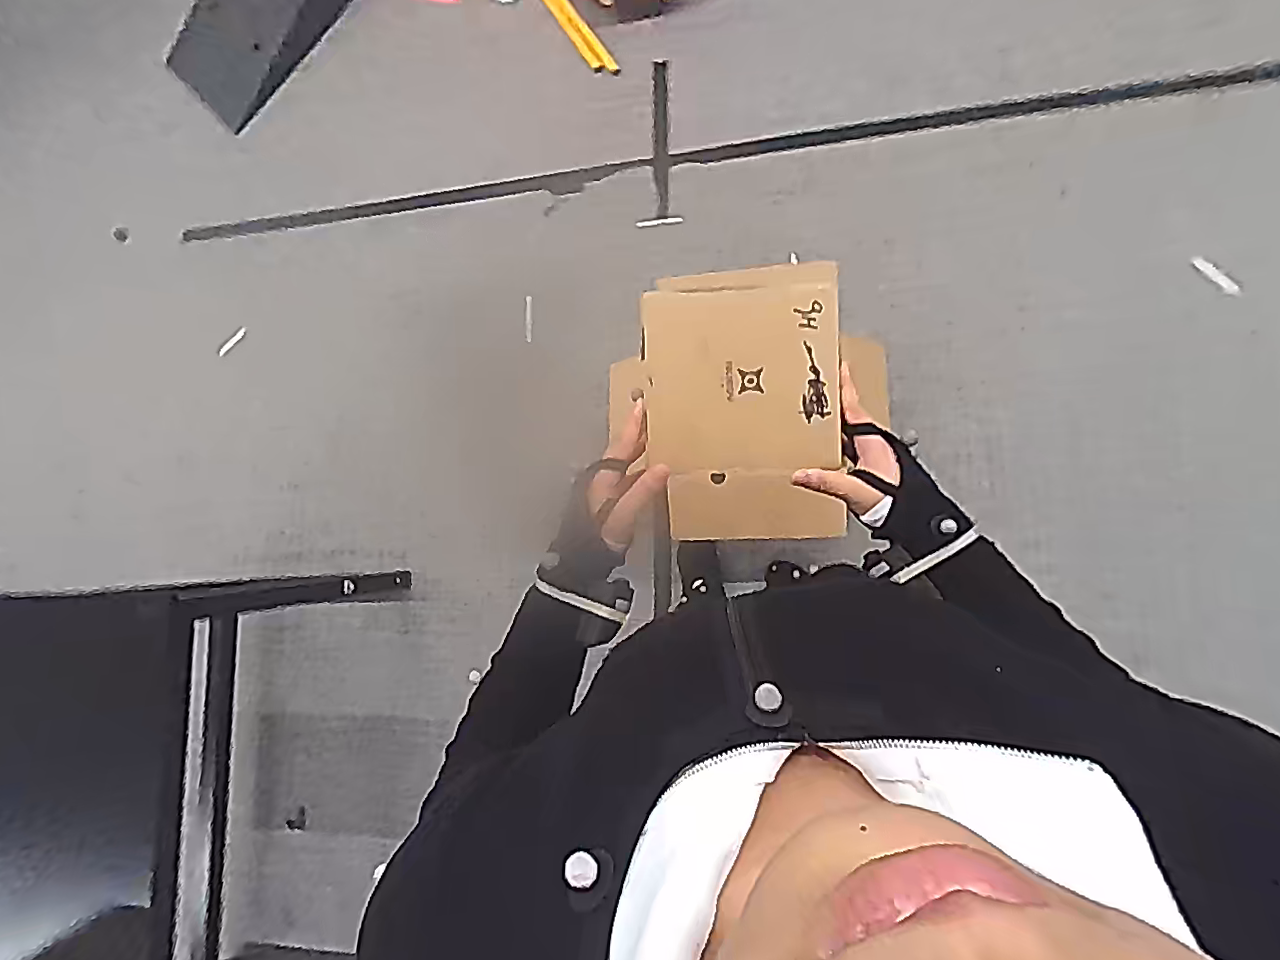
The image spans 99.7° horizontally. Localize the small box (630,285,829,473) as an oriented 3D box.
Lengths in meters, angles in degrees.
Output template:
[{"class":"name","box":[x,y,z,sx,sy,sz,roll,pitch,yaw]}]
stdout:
[{"class":"small box","box":[0.086,-0.092,0.569,0.179,0.176,0.168,-3,92,3]}]
